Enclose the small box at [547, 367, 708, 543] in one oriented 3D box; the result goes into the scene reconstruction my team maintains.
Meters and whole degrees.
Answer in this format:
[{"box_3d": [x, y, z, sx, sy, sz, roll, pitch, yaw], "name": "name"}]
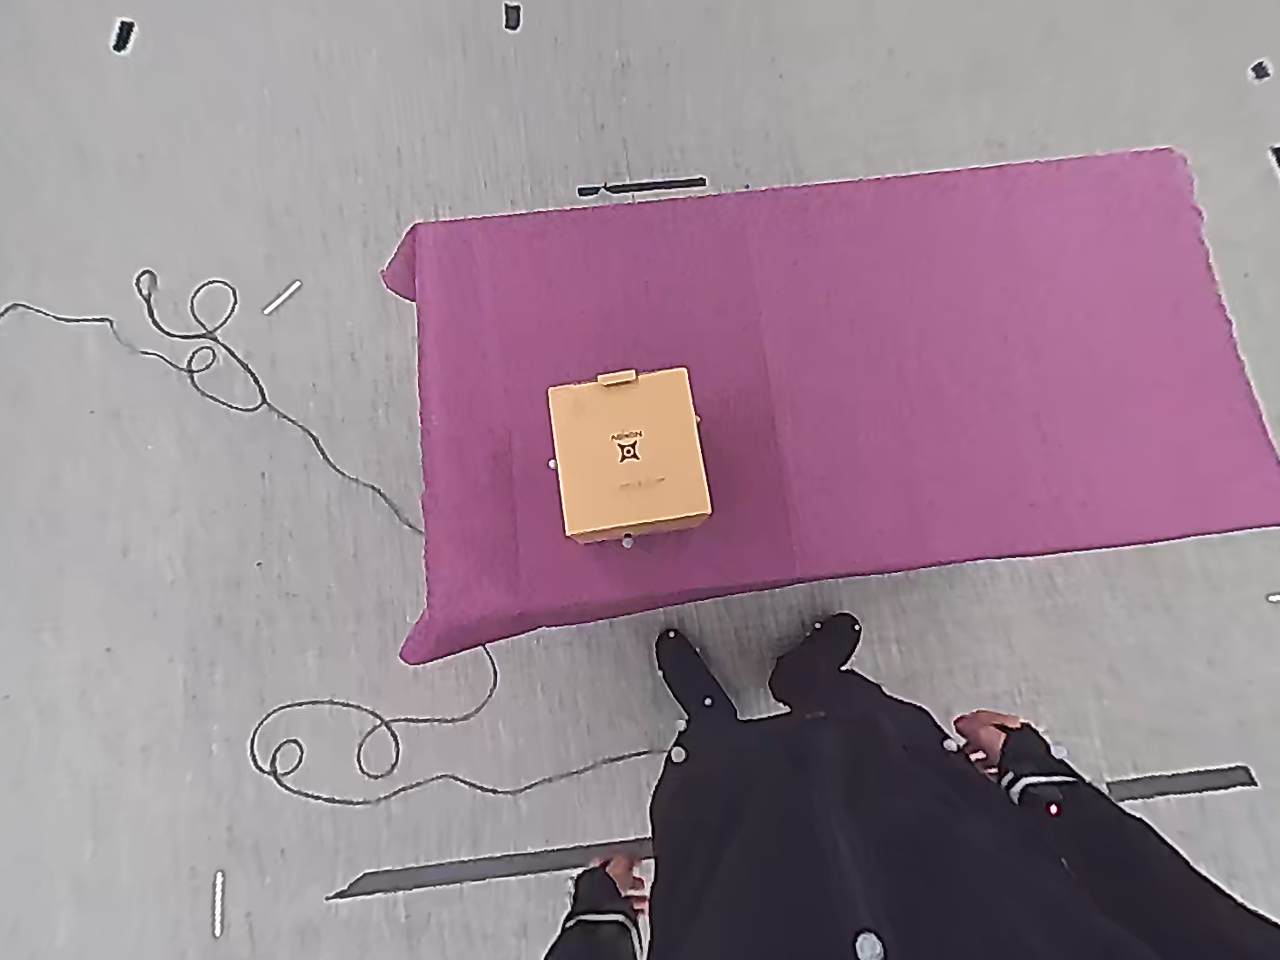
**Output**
[{"box_3d": [-0.016, -0.022, 0.682, 0.168, 0.176, 0.179, -8, 80, -1], "name": "small box"}]
